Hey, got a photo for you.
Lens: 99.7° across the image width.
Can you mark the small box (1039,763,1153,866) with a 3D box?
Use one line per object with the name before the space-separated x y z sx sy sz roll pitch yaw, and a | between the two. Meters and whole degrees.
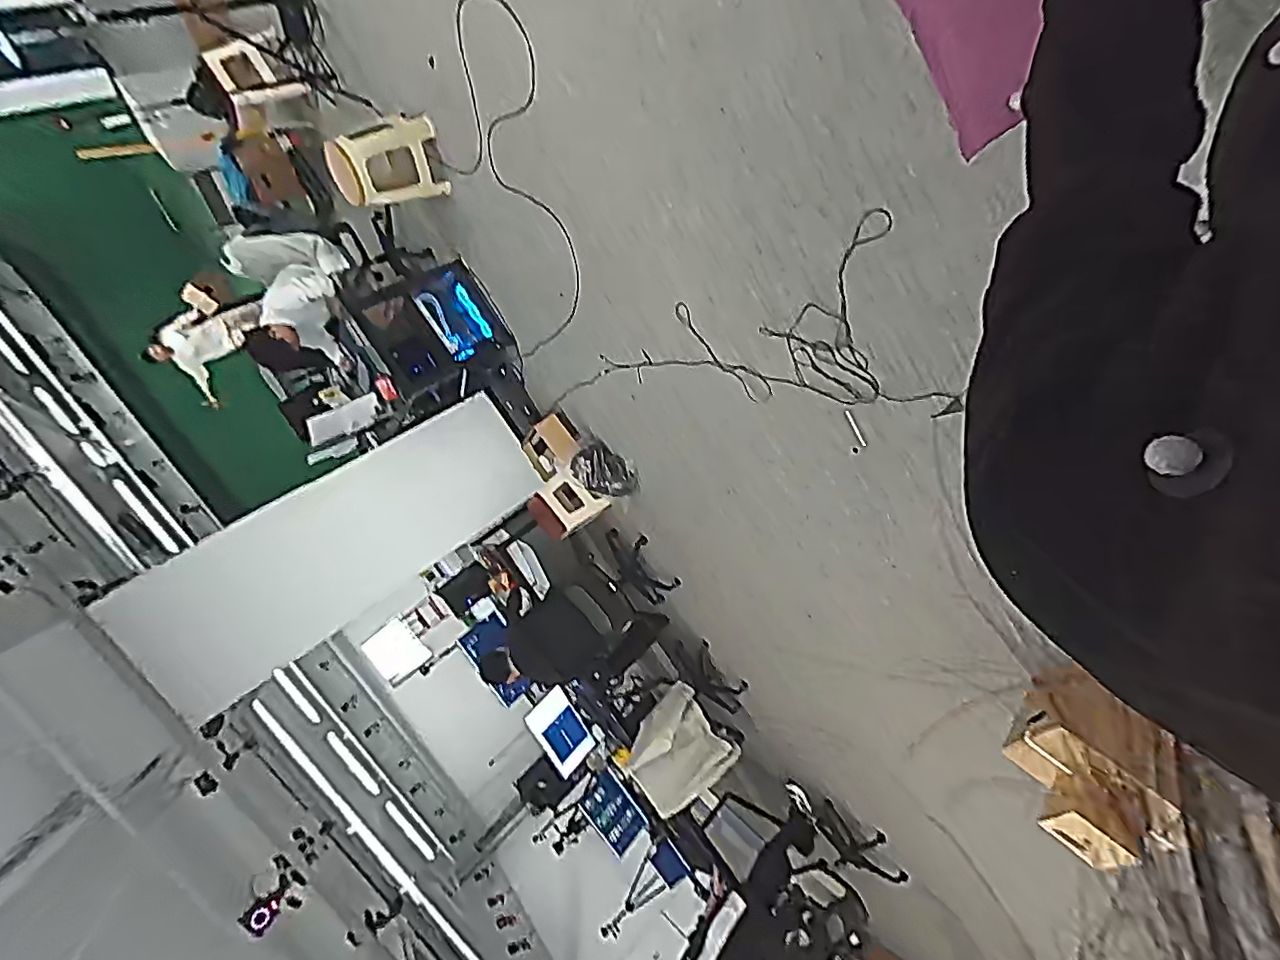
small box | 1.285 0.938 1.522 0.168 0.176 0.179 37 147 26
